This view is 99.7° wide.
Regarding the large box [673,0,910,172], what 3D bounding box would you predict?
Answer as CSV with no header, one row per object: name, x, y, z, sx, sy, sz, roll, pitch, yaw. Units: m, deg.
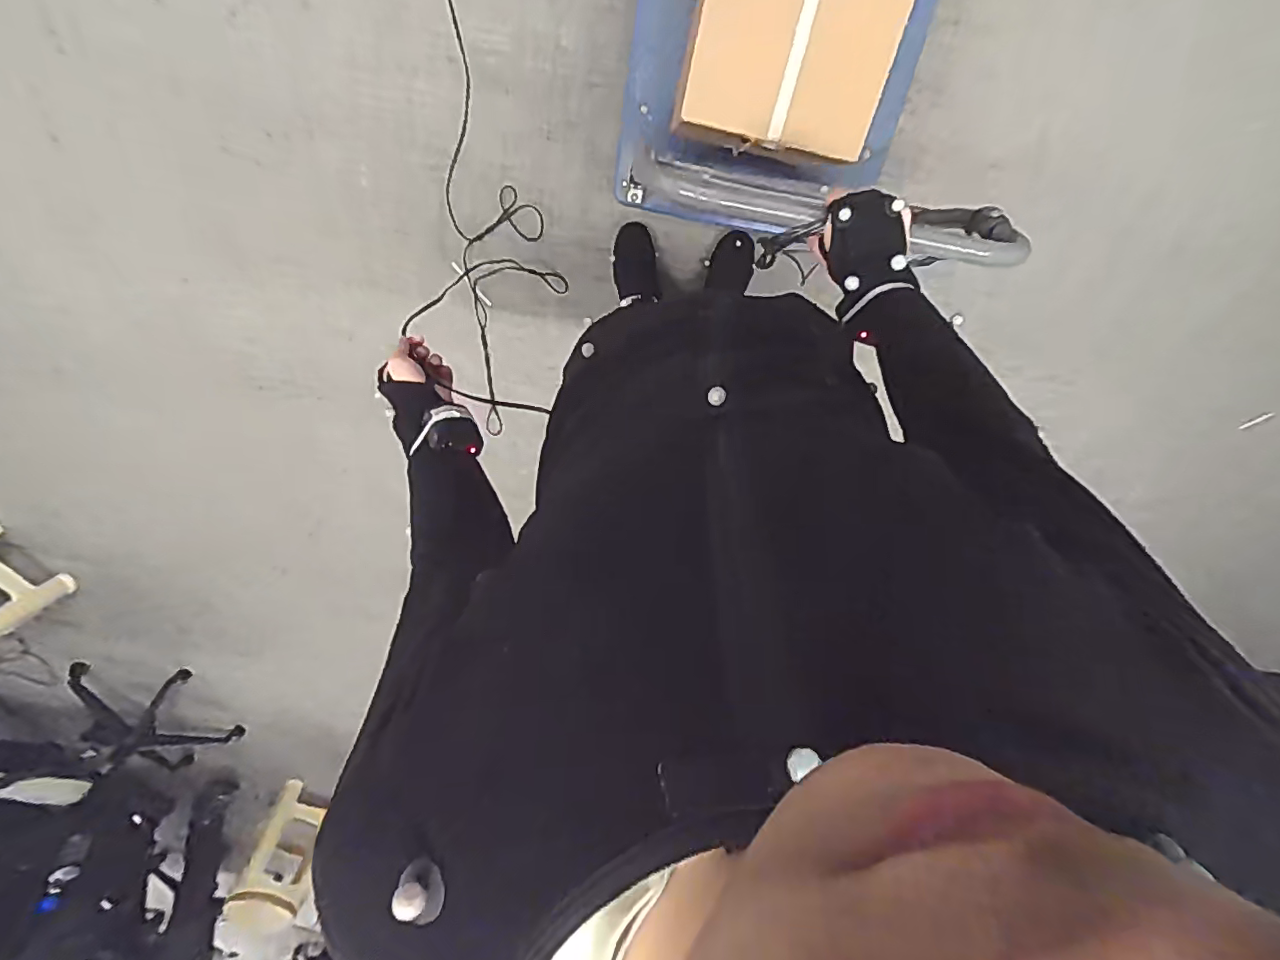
large box,0.250,-0.793,0.938,0.320,0.320,0.408,10,118,-7
